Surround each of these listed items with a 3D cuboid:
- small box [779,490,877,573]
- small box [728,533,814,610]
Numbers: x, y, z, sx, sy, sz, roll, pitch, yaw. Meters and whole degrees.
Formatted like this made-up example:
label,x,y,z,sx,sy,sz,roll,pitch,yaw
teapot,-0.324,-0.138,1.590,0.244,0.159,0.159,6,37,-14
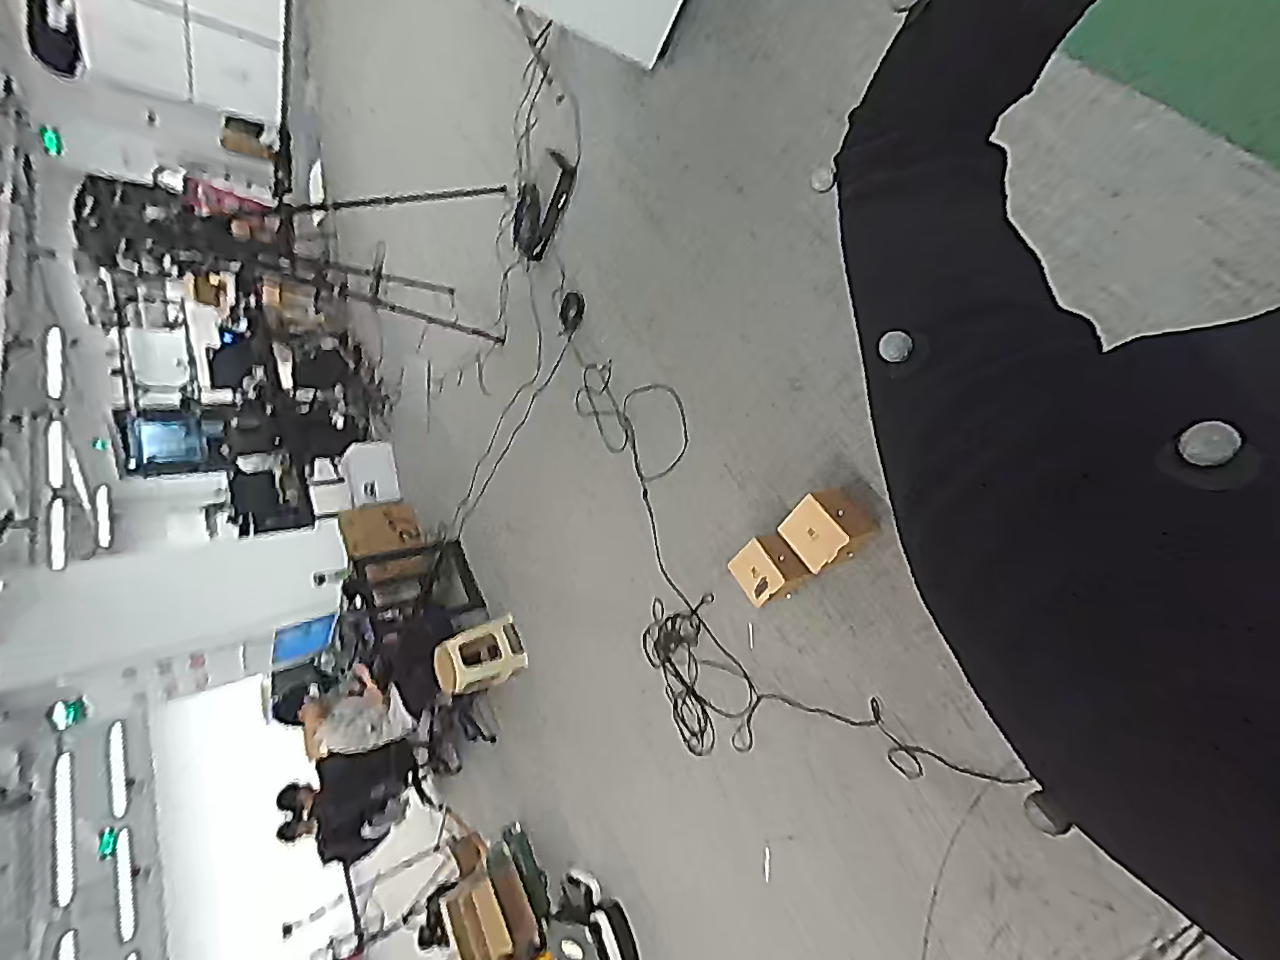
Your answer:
label,x,y,z,sx,sy,sz,roll,pitch,yaw
small box,0.555,0.146,1.596,0.179,0.176,0.168,53,133,28
small box,0.431,0.290,1.766,0.179,0.176,0.168,57,134,27
